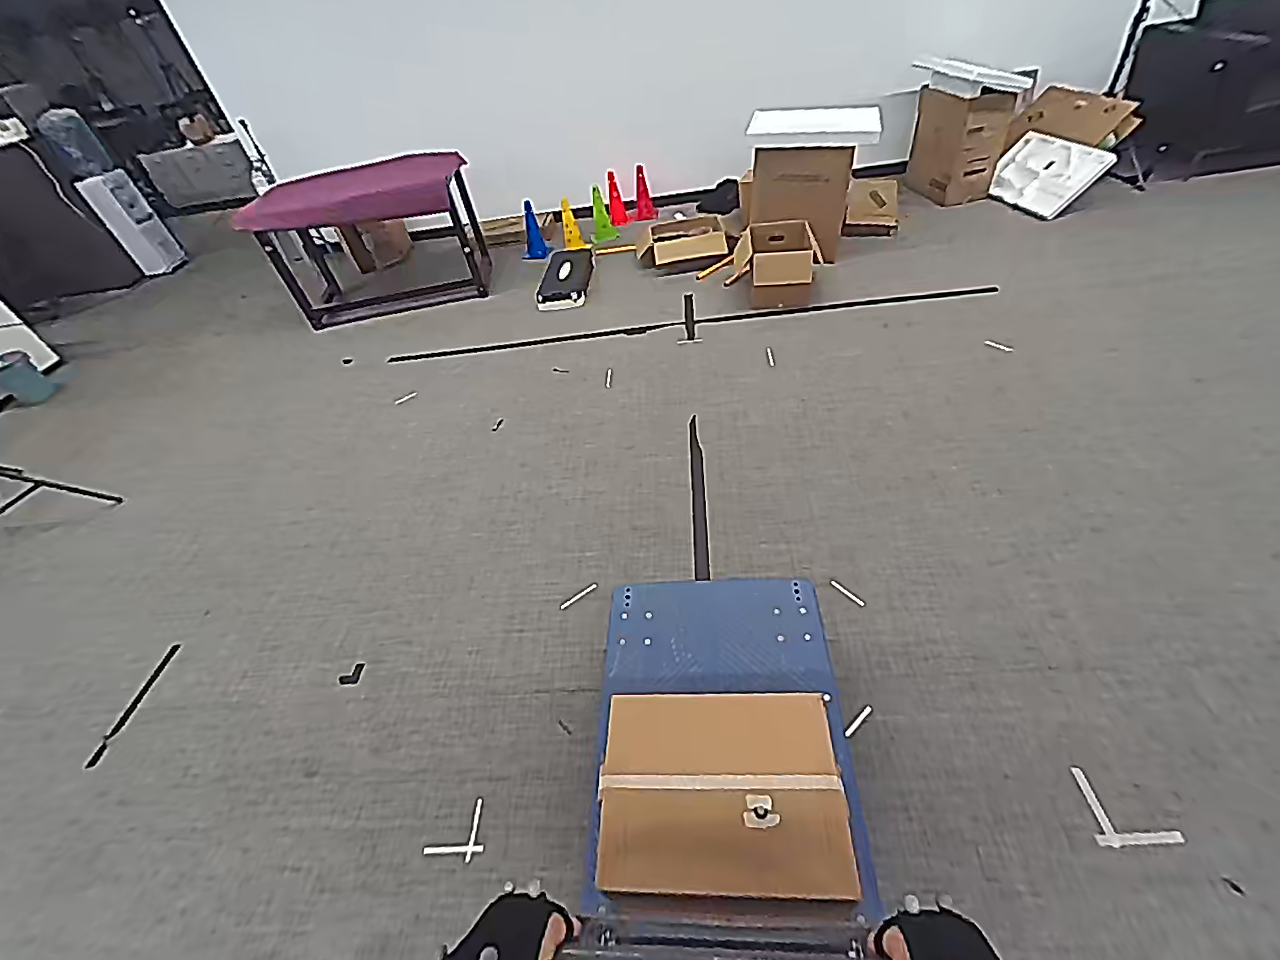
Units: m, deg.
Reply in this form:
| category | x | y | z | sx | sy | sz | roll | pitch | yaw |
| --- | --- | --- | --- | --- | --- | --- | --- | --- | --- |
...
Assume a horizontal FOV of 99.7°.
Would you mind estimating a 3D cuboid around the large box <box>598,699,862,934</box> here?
| category | x | y | z | sx | sy | sz | roll | pitch | yaw |
| --- | --- | --- | --- | --- | --- | --- | --- | --- | --- |
| large box | 0.152 | 0.634 | 1.017 | 0.408 | 0.320 | 0.320 | -4 | 45 | 7 |
